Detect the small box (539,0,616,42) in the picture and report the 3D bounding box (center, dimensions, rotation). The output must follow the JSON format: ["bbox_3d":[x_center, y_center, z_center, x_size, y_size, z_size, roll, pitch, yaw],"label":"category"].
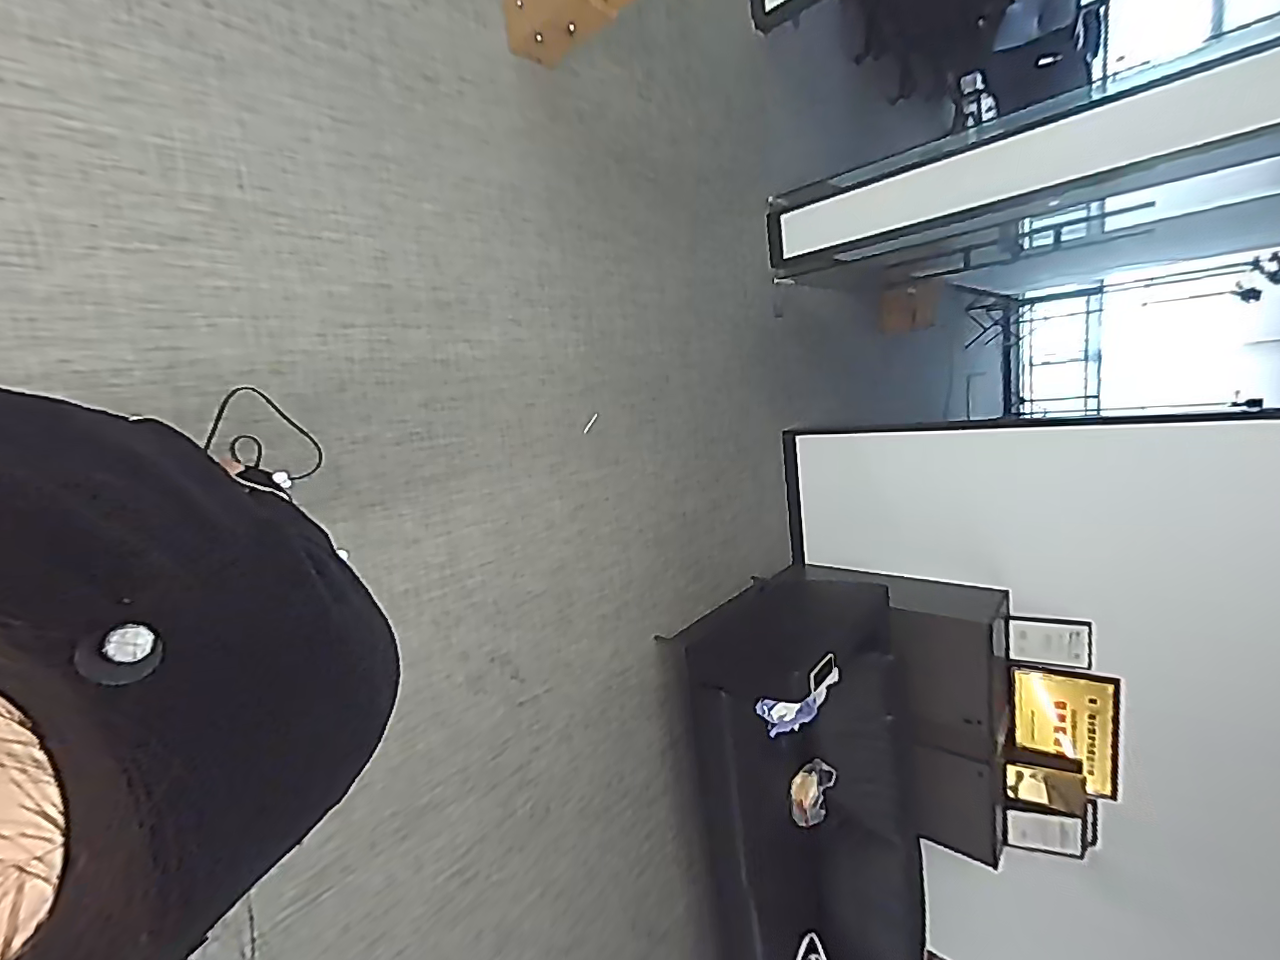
[{"bbox_3d":[-0.195,-1.489,1.632,0.168,0.176,0.179,-12,100,-45],"label":"small box"}]
